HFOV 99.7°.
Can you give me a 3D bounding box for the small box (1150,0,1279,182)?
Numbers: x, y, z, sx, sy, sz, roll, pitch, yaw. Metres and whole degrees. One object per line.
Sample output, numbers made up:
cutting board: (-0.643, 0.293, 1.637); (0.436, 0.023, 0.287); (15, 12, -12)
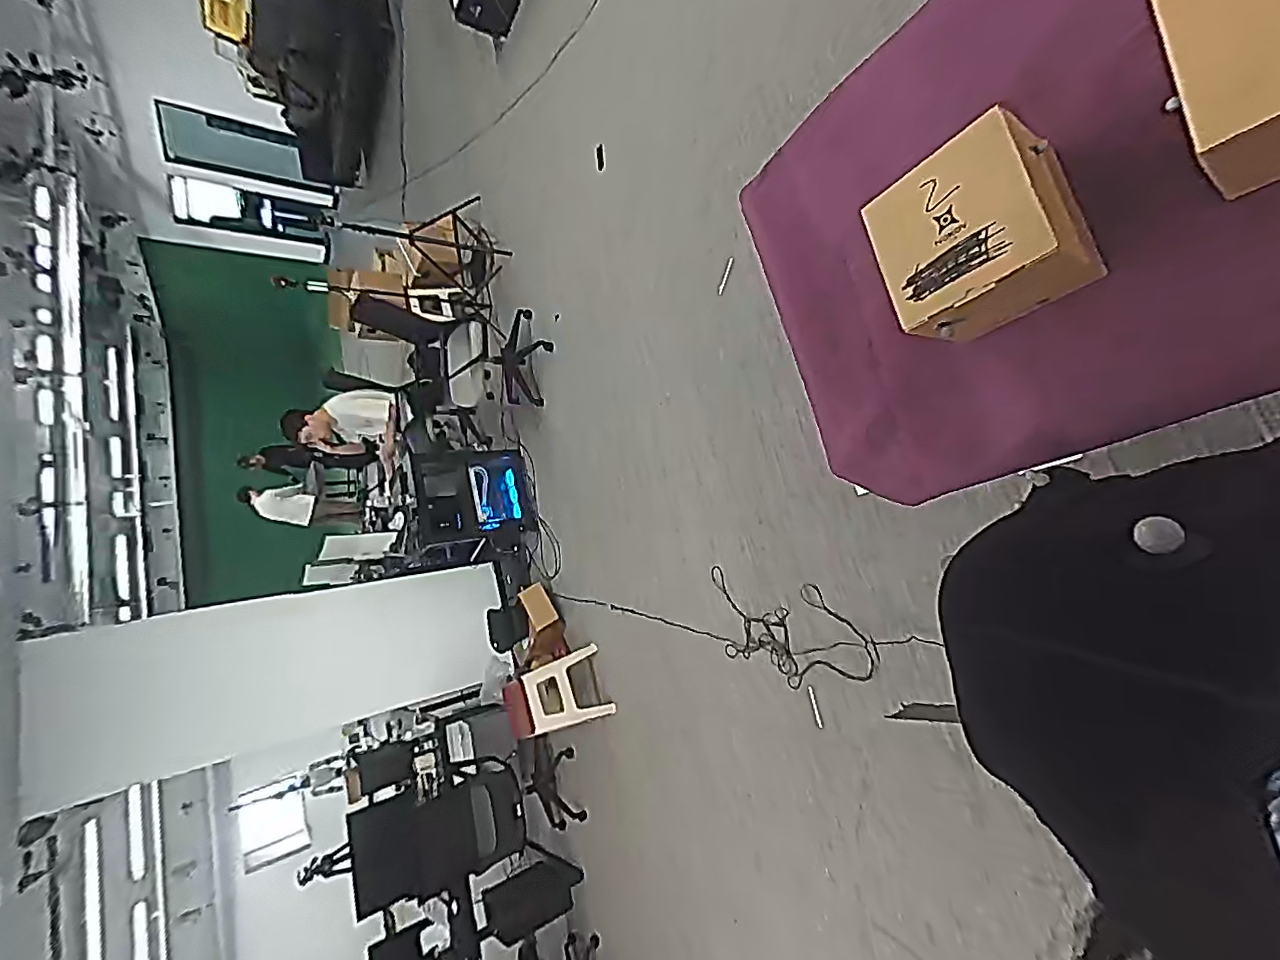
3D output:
small box: (0.557, -0.375, 0.431); (0.179, 0.176, 0.168); (-17, 81, 53)
